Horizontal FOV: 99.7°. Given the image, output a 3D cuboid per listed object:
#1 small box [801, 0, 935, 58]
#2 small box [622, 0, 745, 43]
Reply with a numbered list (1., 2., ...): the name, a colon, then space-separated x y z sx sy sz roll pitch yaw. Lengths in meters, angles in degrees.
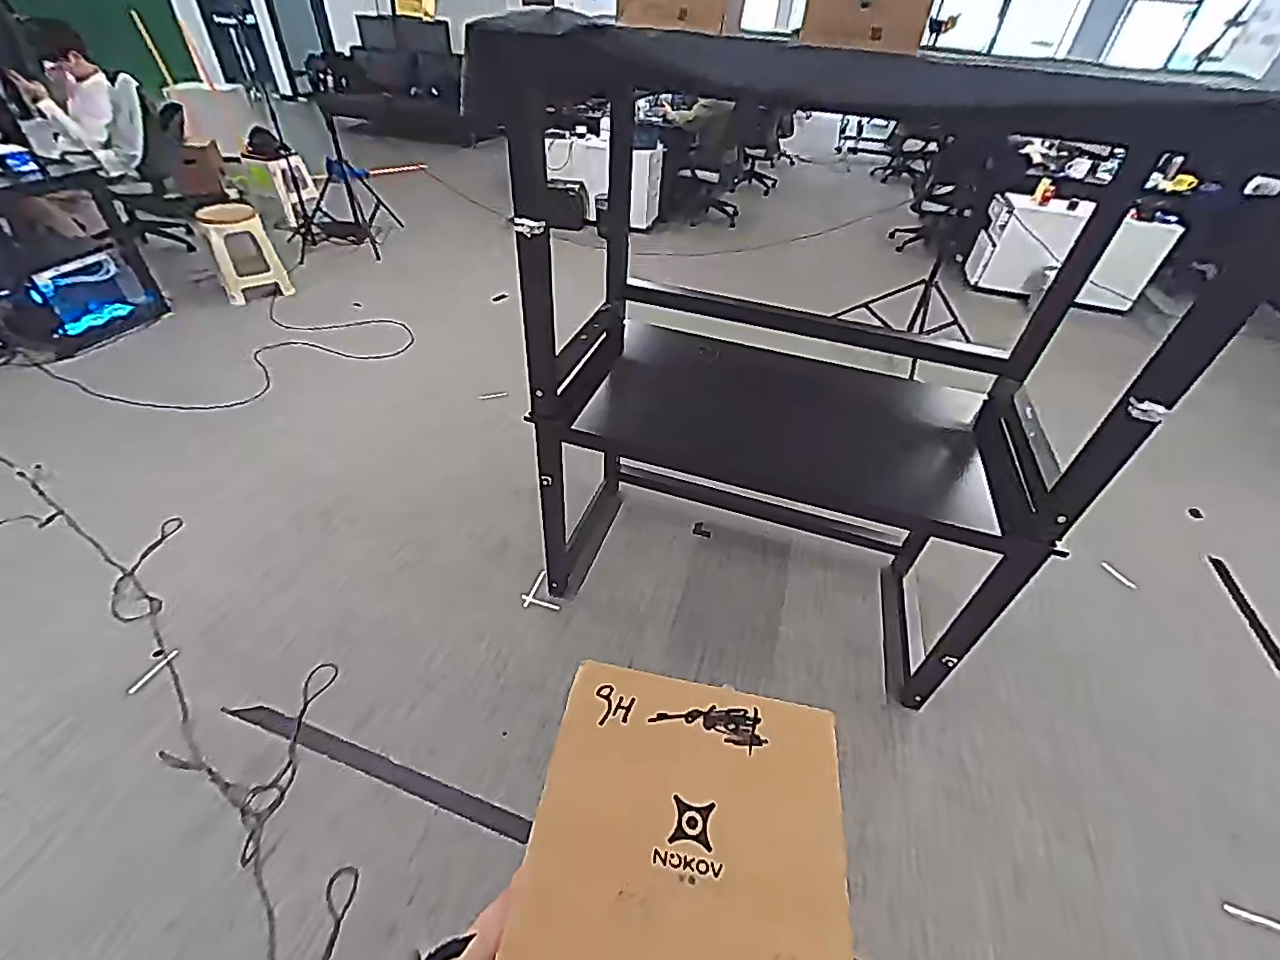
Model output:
1. small box: 0.335 -0.713 0.762 0.168 0.176 0.179 15 41 11
2. small box: 0.075 -0.779 0.816 0.168 0.176 0.179 15 41 10
